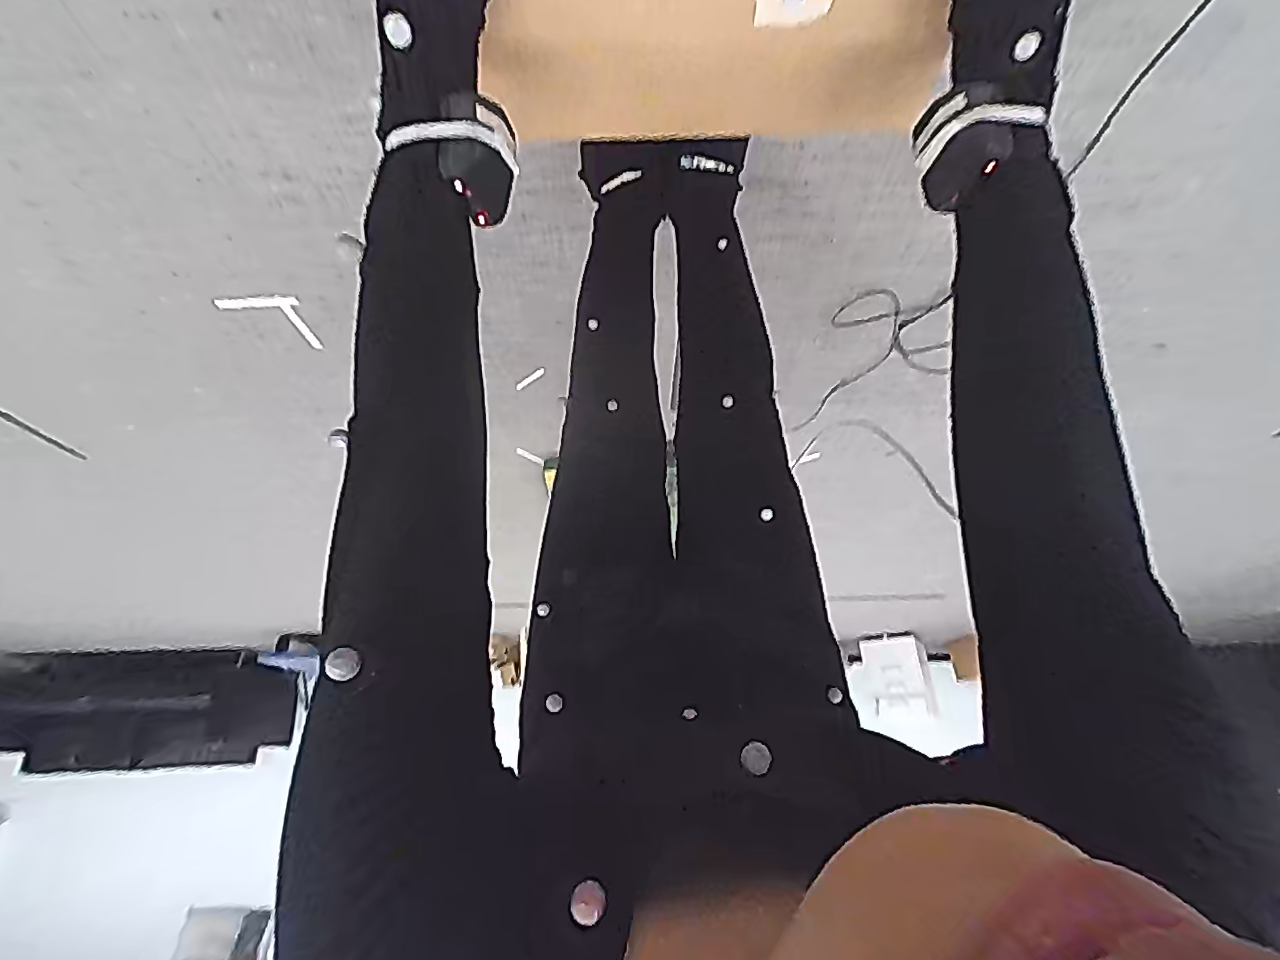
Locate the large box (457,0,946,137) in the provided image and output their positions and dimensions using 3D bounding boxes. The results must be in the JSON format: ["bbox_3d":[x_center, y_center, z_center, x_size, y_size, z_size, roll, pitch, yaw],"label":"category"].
[{"bbox_3d":[0.044,-0.543,0.456,0.408,0.320,0.320,-2,152,1],"label":"large box"}]
